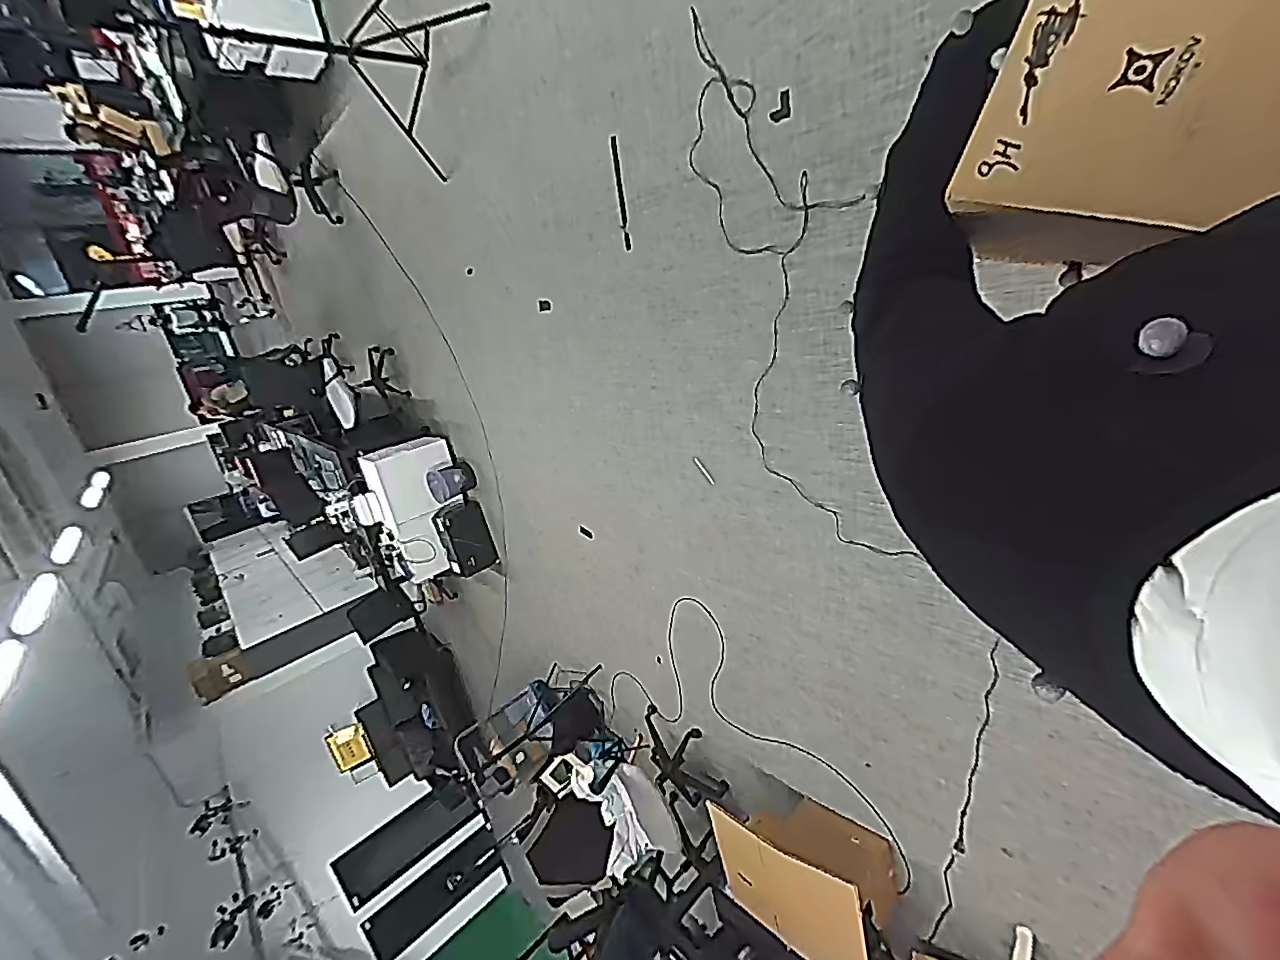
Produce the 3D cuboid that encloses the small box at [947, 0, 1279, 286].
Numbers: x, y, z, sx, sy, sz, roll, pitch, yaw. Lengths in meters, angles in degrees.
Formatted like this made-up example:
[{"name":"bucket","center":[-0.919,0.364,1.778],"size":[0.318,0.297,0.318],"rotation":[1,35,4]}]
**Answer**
[{"name":"small box","center":[0.361,-0.252,0.391],"size":[0.179,0.176,0.168],"rotation":[29,110,32]}]
